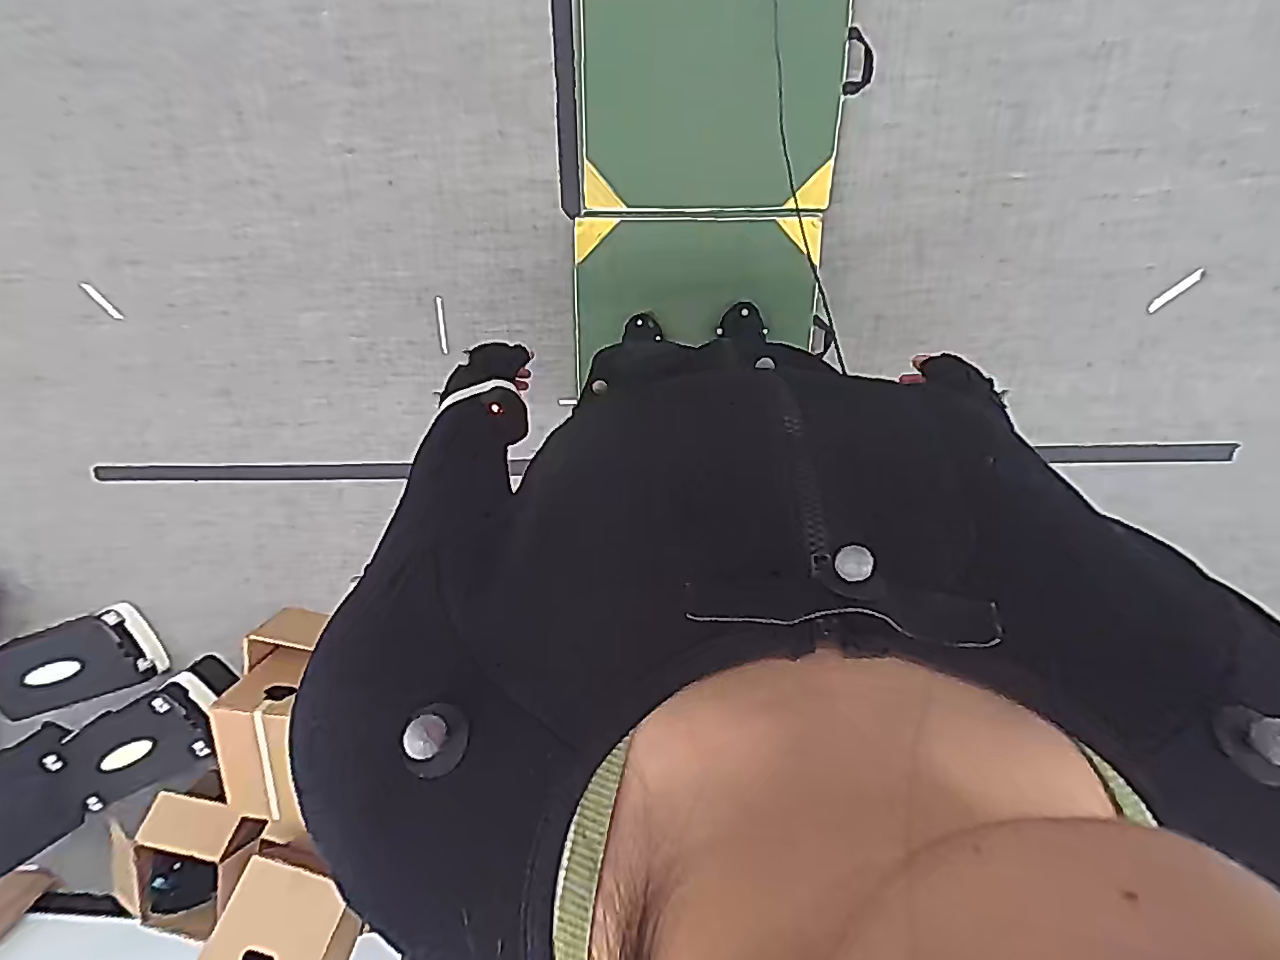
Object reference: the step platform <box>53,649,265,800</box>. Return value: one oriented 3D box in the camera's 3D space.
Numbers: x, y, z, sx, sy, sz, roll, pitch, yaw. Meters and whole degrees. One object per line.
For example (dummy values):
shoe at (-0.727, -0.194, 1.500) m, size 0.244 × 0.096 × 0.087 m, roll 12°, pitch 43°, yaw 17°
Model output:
step platform at (-1.717, 0.879, 1.931) m, size 0.684 × 0.204 × 0.286 m, roll -28°, pitch 103°, yaw 12°
